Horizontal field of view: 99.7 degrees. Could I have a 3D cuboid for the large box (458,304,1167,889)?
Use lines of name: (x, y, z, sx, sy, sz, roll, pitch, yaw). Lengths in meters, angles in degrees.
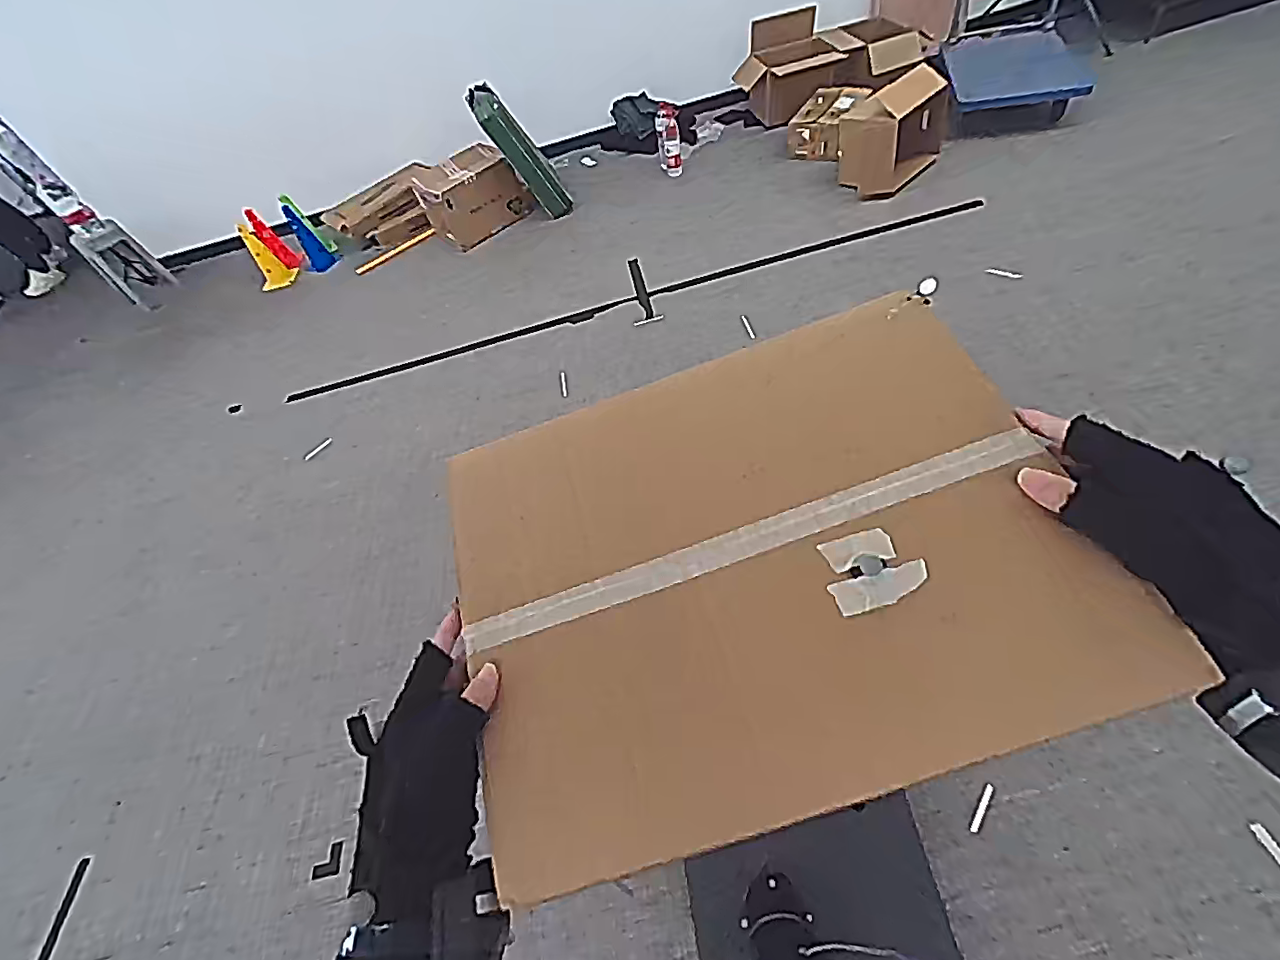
large box: (0.099, 0.114, 0.510, 0.408, 0.320, 0.320, -20, 61, 2)
